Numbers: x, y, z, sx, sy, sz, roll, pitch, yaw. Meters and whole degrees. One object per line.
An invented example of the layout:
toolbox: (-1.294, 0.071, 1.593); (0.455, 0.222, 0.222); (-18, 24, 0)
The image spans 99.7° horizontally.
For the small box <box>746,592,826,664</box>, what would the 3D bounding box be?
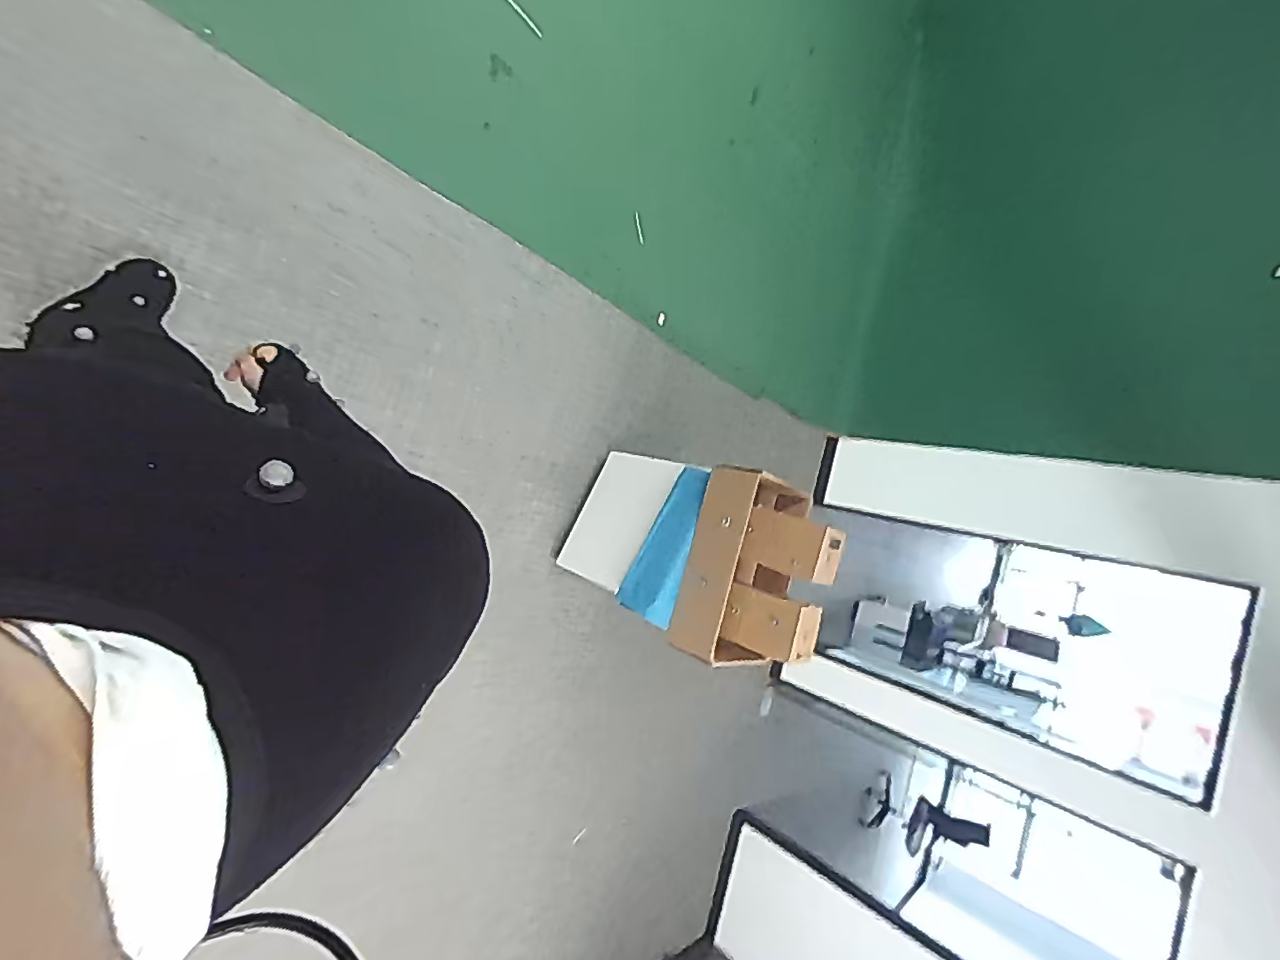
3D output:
small box: (0.448, 0.452, 1.669); (0.168, 0.176, 0.179); (18, 85, -47)
